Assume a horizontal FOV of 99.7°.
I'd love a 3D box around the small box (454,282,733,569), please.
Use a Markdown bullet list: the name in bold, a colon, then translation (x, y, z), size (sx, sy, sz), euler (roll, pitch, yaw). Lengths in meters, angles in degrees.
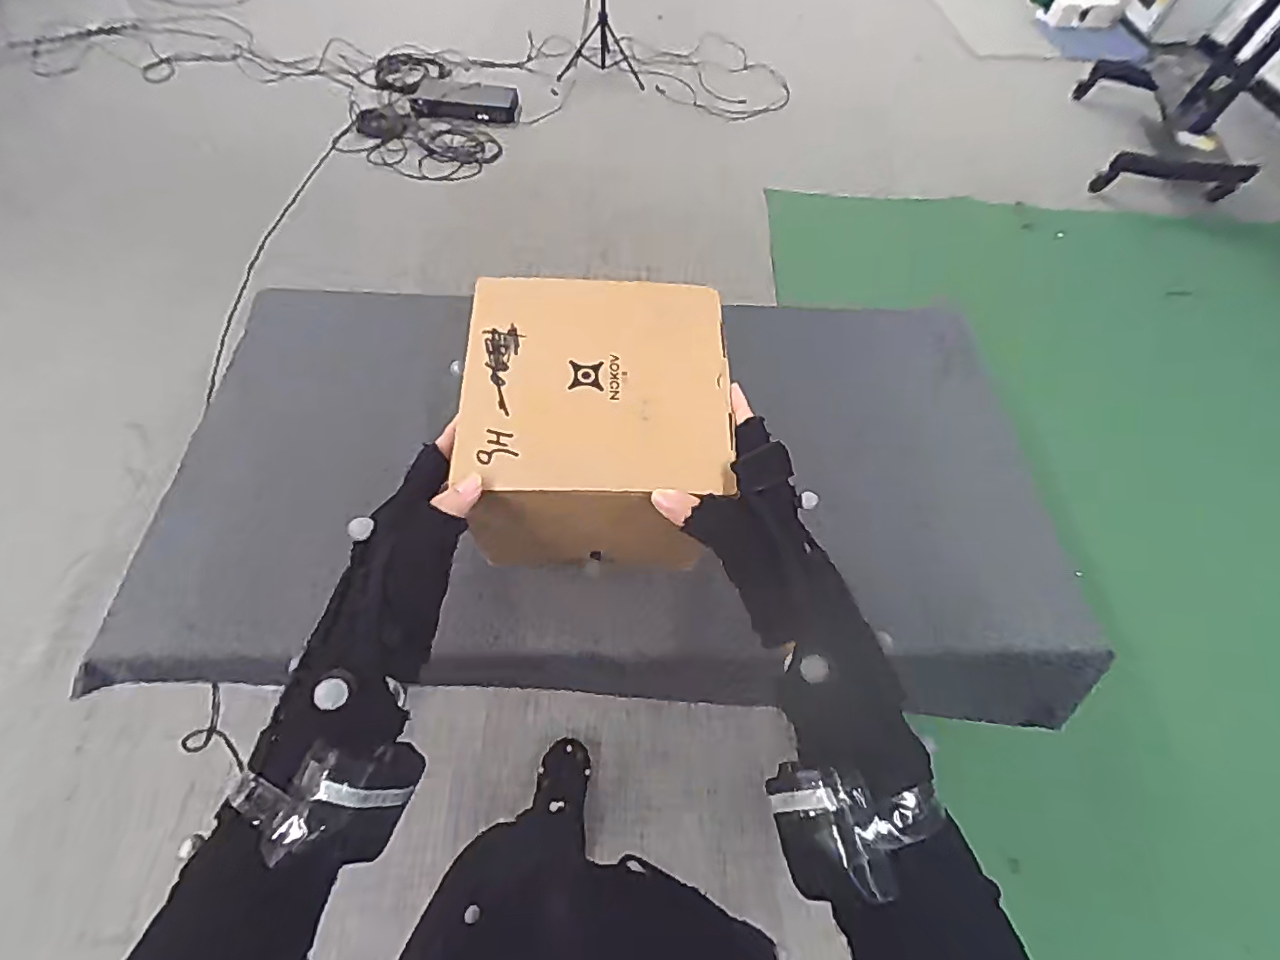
- **small box**: translation (-0.037, -0.031, 0.439), size (0.179, 0.176, 0.168), euler (2, 63, -7)
